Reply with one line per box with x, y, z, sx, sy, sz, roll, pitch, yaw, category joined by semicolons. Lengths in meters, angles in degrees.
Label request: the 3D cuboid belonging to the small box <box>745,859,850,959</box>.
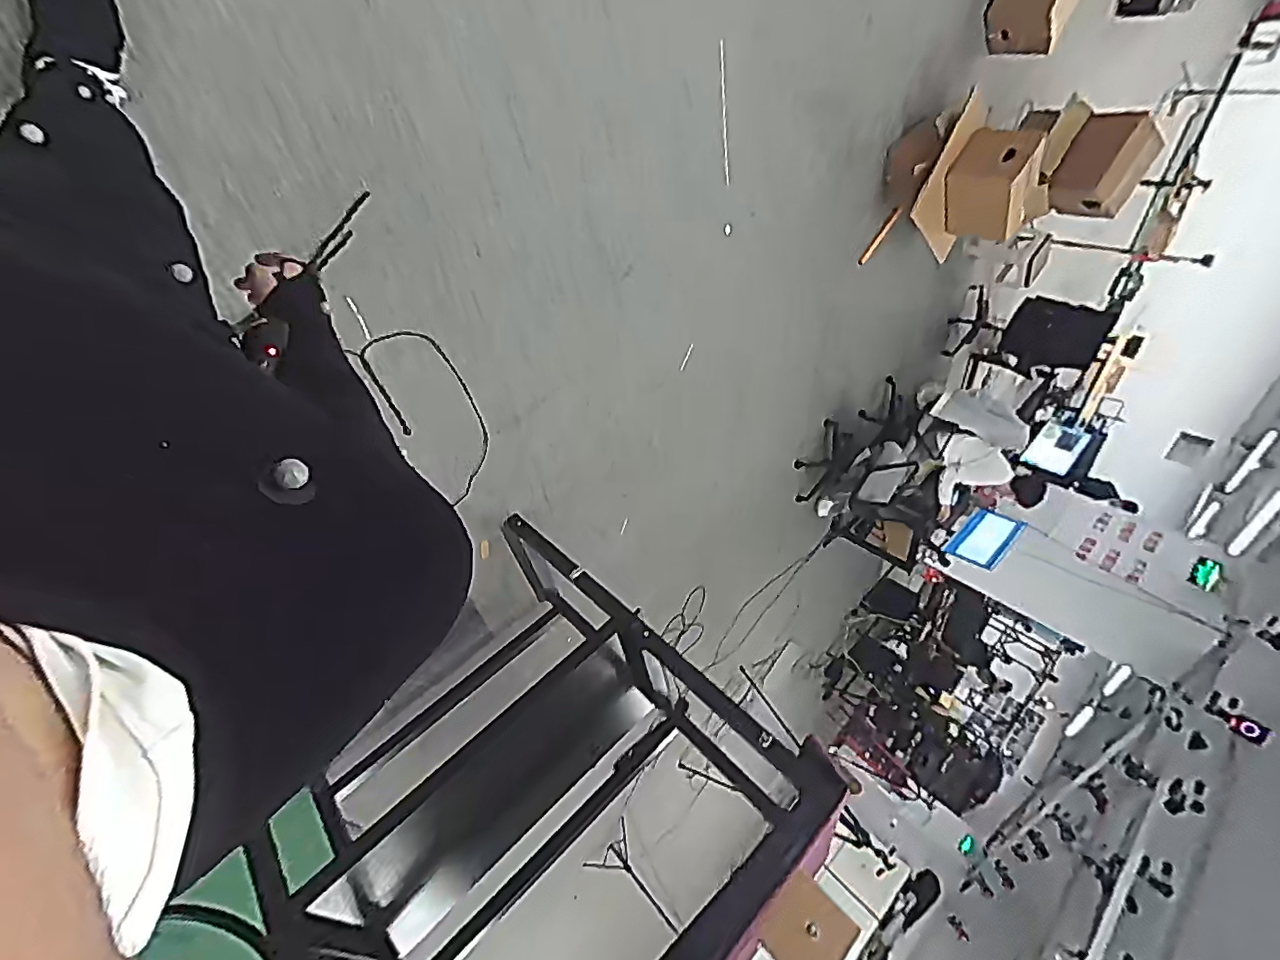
0.357;1.035;1.254;0.179;0.176;0.168;-39;140;-24;small box
